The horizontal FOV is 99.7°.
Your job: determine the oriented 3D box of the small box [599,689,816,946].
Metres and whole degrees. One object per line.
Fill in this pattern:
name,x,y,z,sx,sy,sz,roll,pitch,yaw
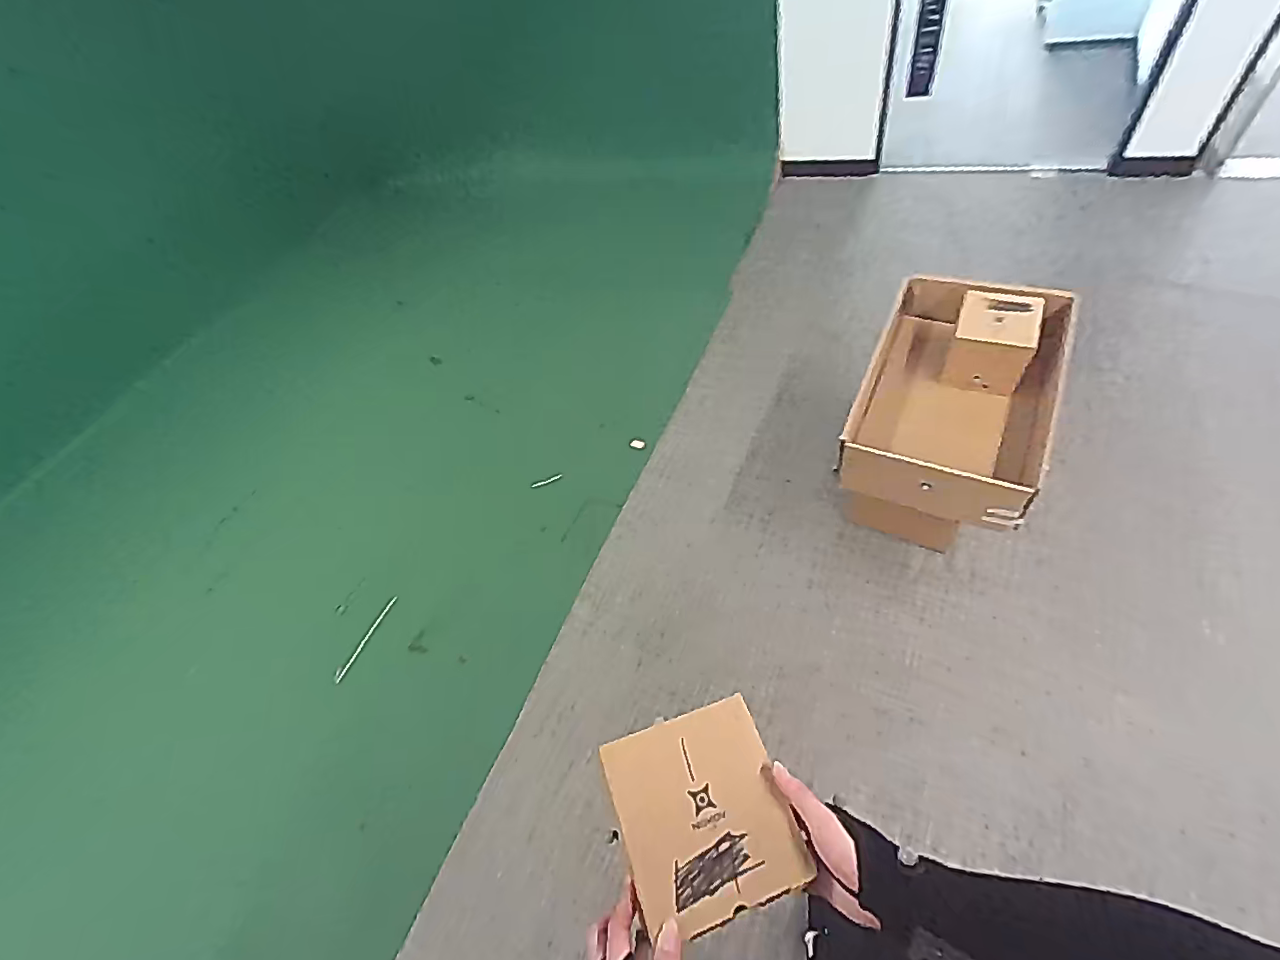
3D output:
small box,0.056,0.354,0.590,0.168,0.176,0.179,-13,60,-14
